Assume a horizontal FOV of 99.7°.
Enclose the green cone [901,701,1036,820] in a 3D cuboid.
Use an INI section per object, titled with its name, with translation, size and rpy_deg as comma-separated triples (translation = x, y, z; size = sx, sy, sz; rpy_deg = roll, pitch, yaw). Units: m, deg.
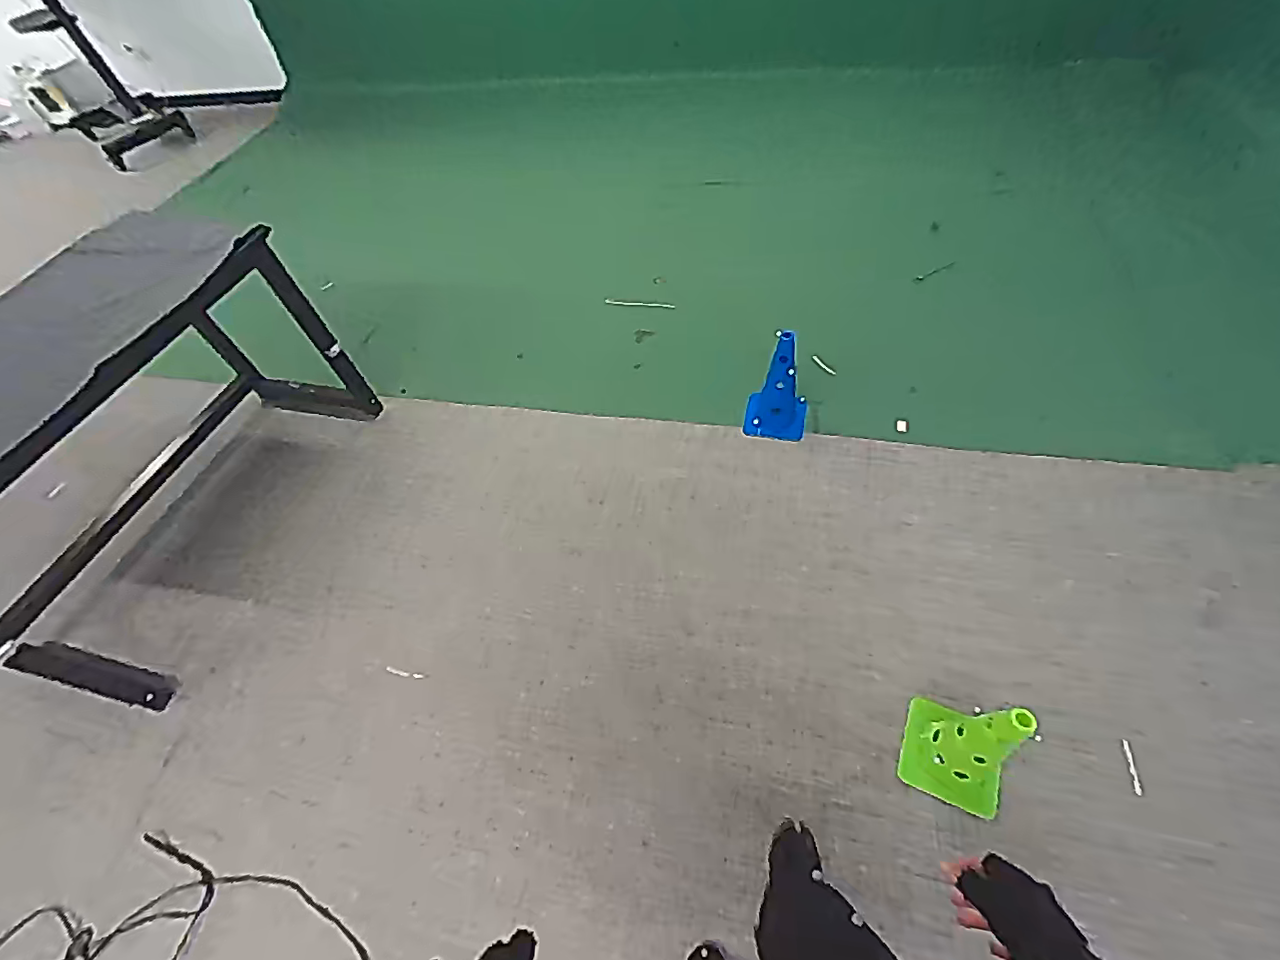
[green cone]
translation = 0.691, 0.528, 1.092
size = 0.200, 0.368, 0.202
rpy_deg = 17, 58, 20
